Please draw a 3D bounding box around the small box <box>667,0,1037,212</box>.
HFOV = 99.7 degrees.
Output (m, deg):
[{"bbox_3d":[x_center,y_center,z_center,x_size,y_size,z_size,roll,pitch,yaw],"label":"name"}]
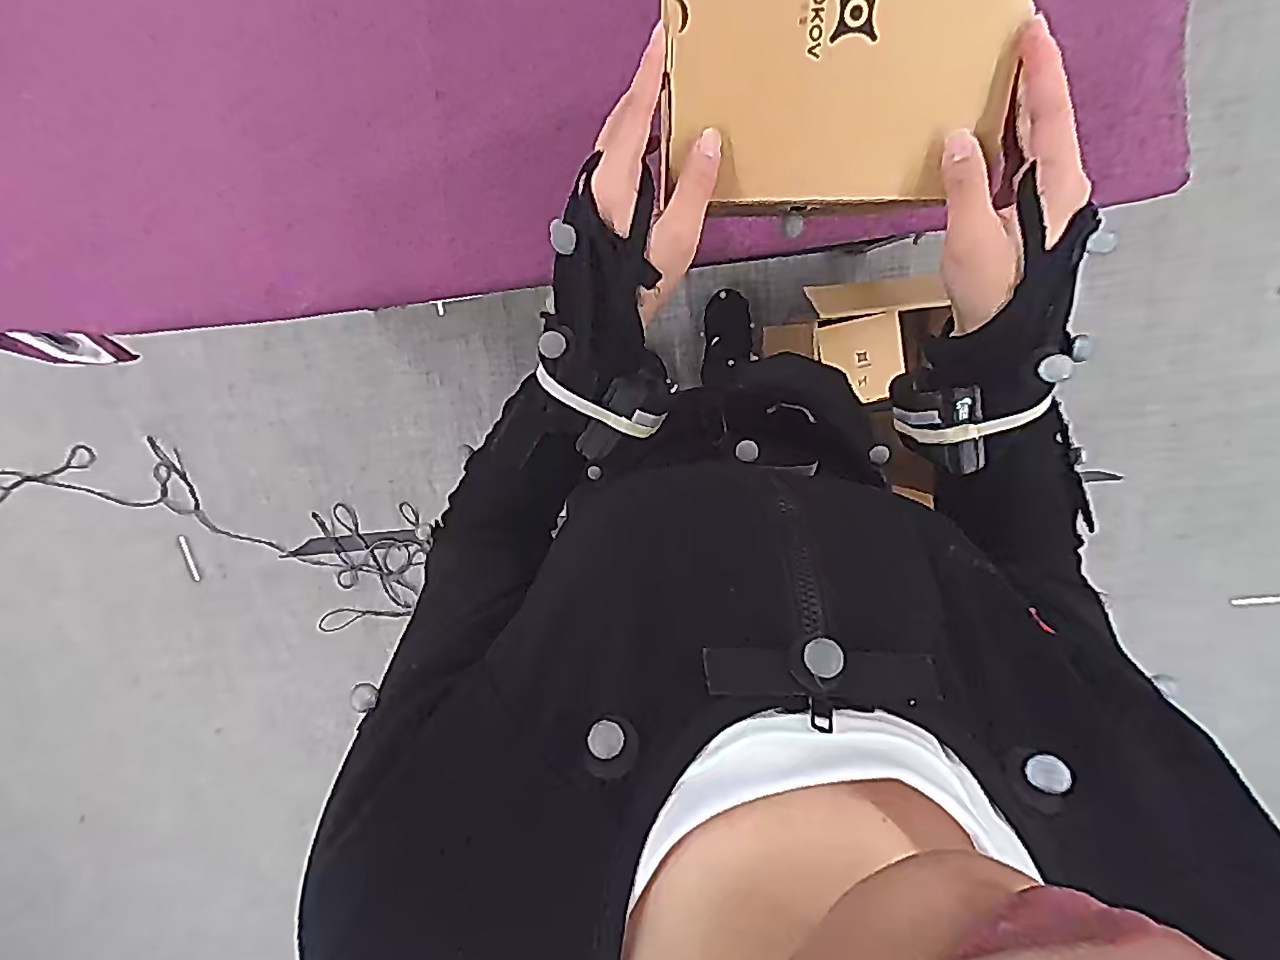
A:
[{"bbox_3d":[0.107,-0.262,0.333,0.179,0.176,0.168,1,114,3],"label":"small box"}]
